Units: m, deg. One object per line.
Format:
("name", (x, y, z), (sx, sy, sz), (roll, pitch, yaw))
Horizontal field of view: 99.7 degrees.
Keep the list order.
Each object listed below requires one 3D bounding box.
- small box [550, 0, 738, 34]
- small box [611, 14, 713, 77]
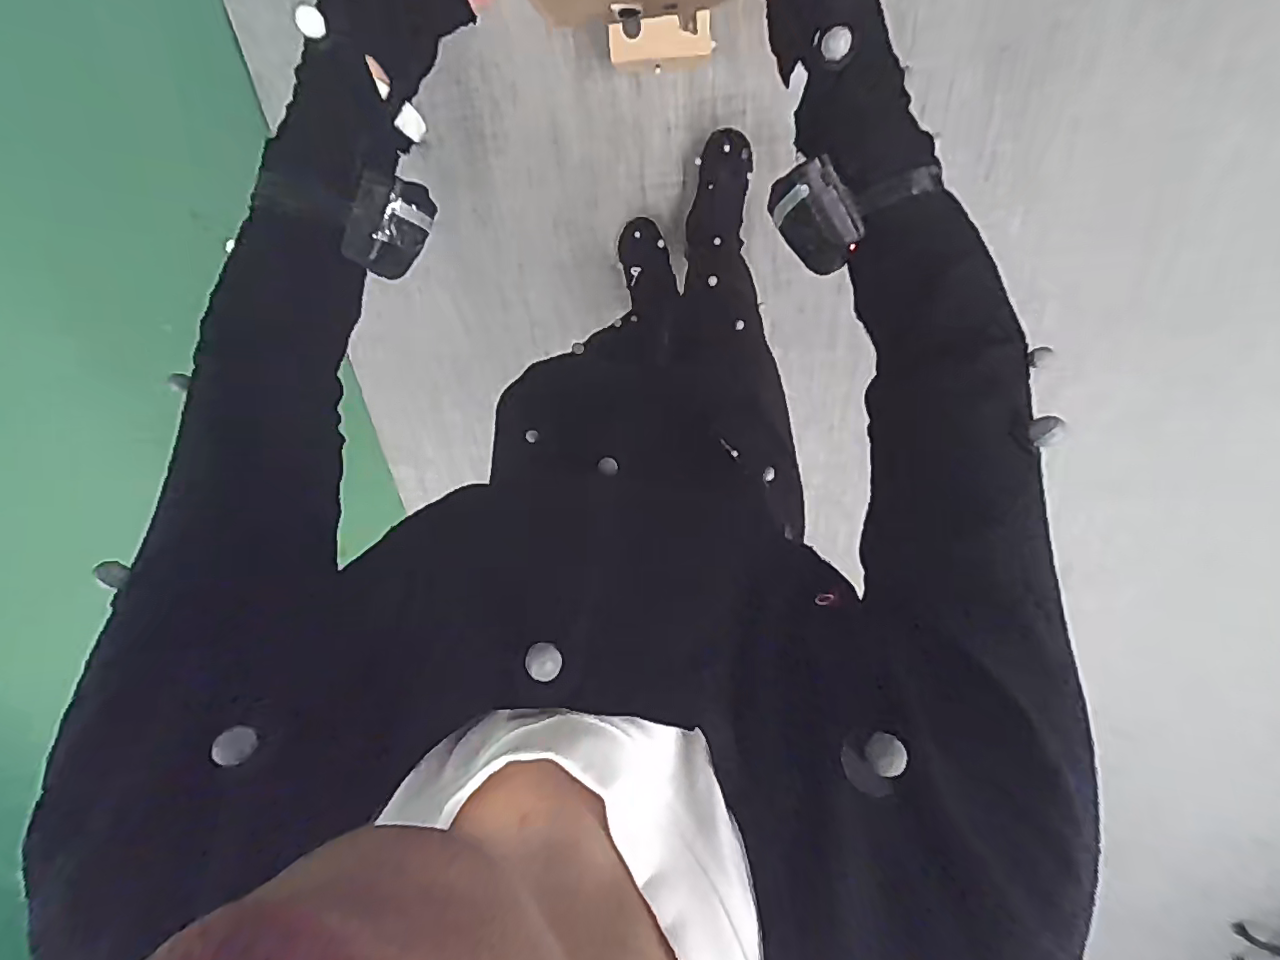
("small box", (-0.006, -0.451, 0.375), (0.168, 0.176, 0.179), (-3, 118, 9))
("small box", (0.040, -0.839, 0.969), (0.179, 0.176, 0.168), (0, 120, 6))
